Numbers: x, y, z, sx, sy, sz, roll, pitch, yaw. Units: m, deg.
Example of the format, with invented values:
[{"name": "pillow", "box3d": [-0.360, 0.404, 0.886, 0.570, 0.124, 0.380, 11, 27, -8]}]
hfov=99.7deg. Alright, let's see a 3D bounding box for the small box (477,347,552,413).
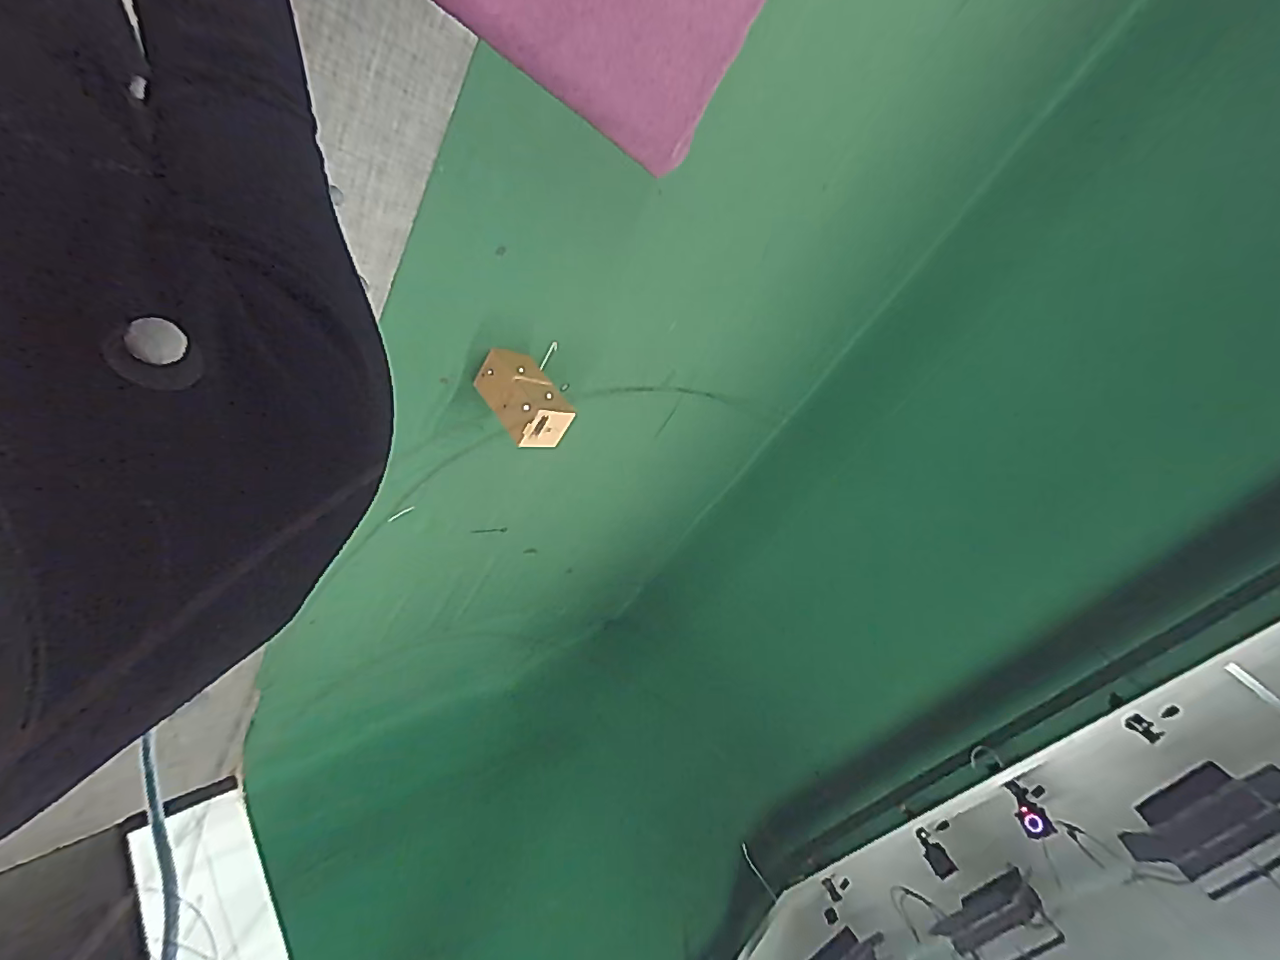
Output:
[{"name": "small box", "box3d": [-0.460, -0.364, 1.973, 0.179, 0.176, 0.168, -1, 135, -52]}]
